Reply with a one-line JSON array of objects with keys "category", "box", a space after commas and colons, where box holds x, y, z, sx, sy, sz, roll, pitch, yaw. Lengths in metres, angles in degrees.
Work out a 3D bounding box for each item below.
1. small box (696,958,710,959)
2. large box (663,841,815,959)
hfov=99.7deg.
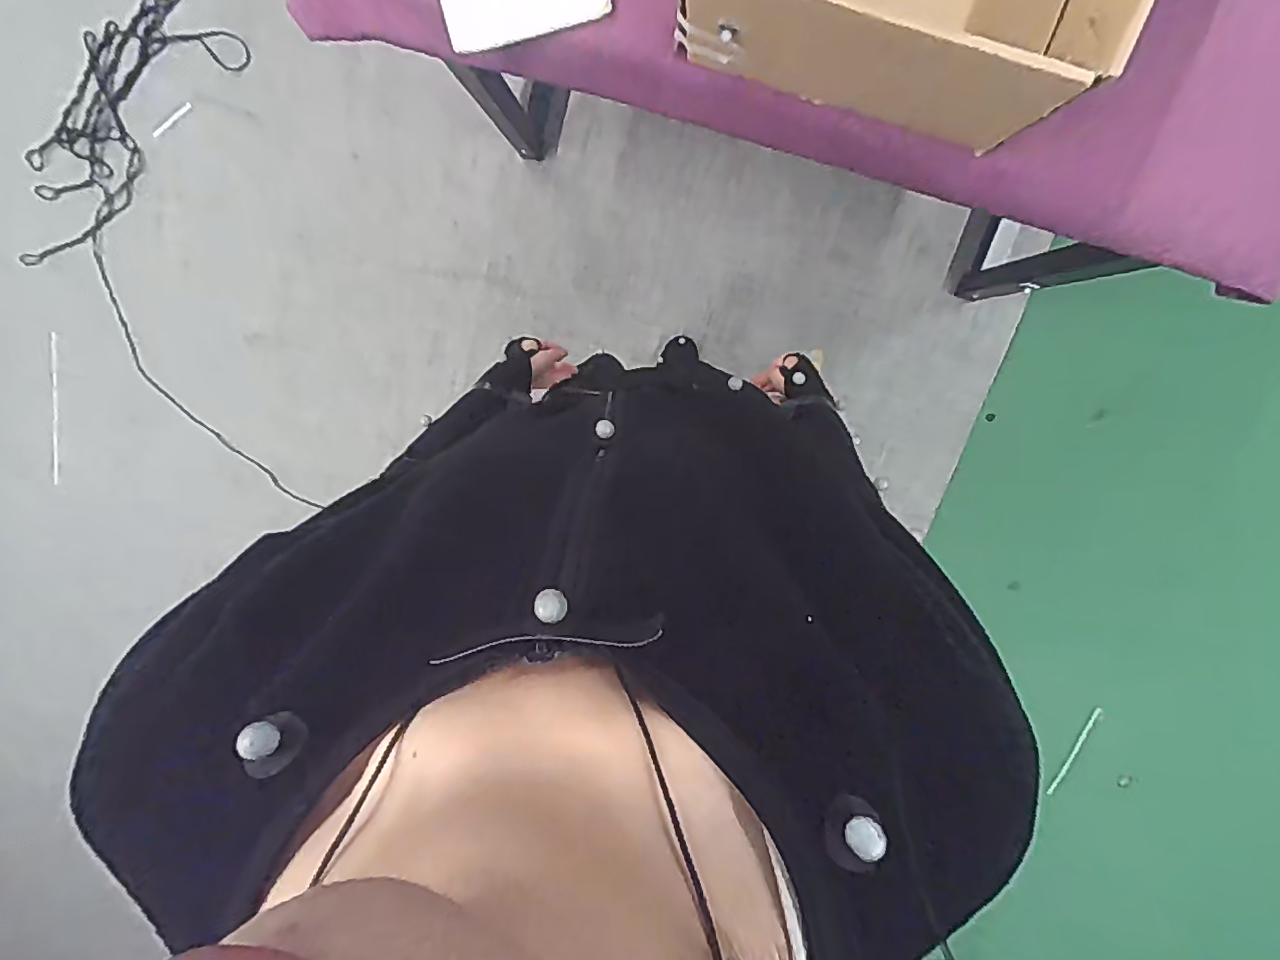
[{"category": "small box", "box": [0.214, 1.385, 1.388, 0.168, 0.176, 0.179, 3, 102, 4]}, {"category": "large box", "box": [0.273, 1.348, 1.626, 0.408, 0.320, 0.320, 2, 104, 2]}]
